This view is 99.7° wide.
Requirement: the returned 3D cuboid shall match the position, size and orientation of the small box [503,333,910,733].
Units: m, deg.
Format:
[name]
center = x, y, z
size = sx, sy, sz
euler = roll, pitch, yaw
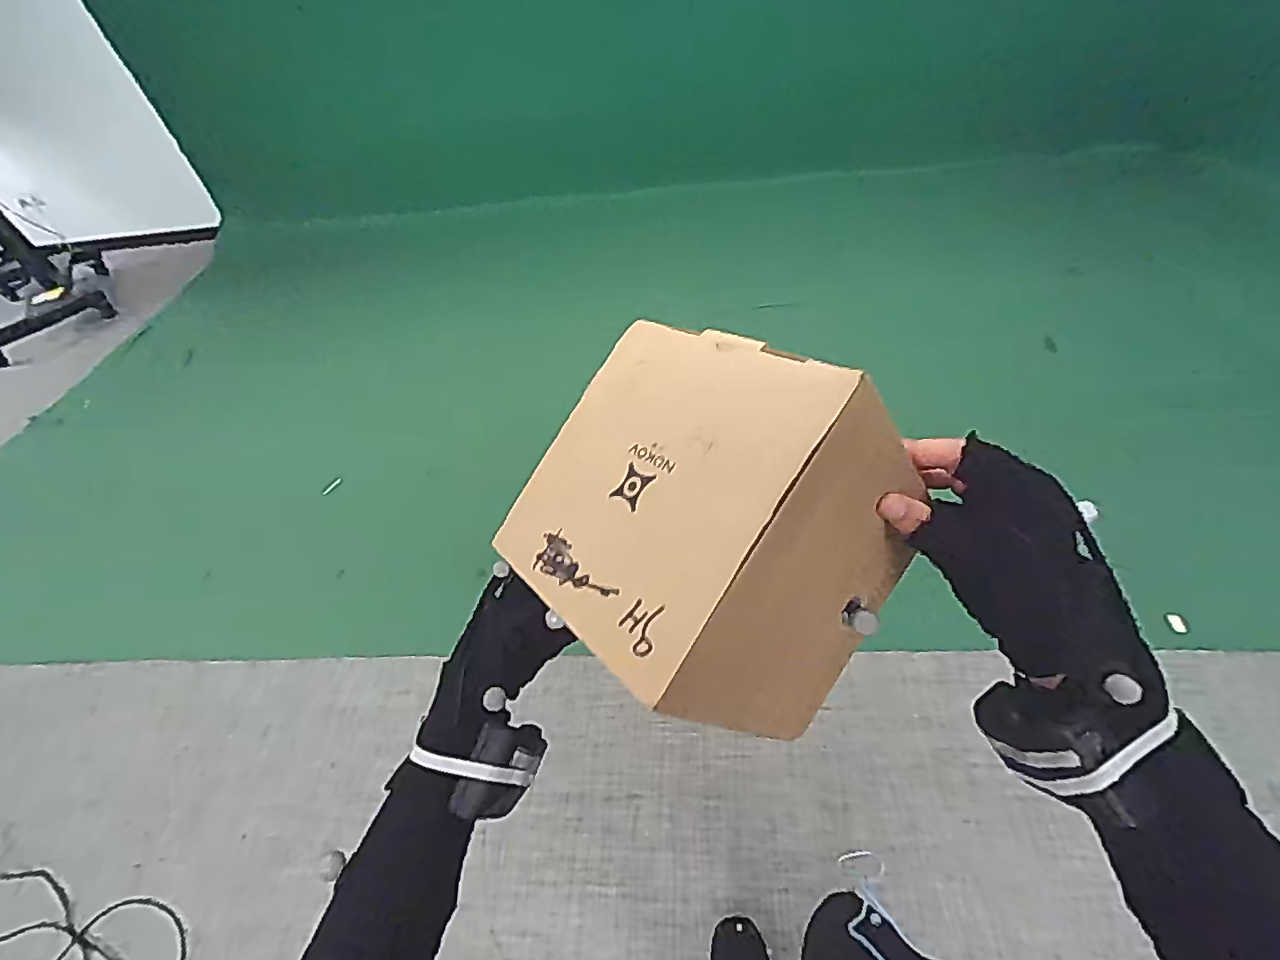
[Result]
[small box]
center = 0.052, 0.035, 0.356
size = 0.168, 0.176, 0.179
euler = 29, 84, 46
